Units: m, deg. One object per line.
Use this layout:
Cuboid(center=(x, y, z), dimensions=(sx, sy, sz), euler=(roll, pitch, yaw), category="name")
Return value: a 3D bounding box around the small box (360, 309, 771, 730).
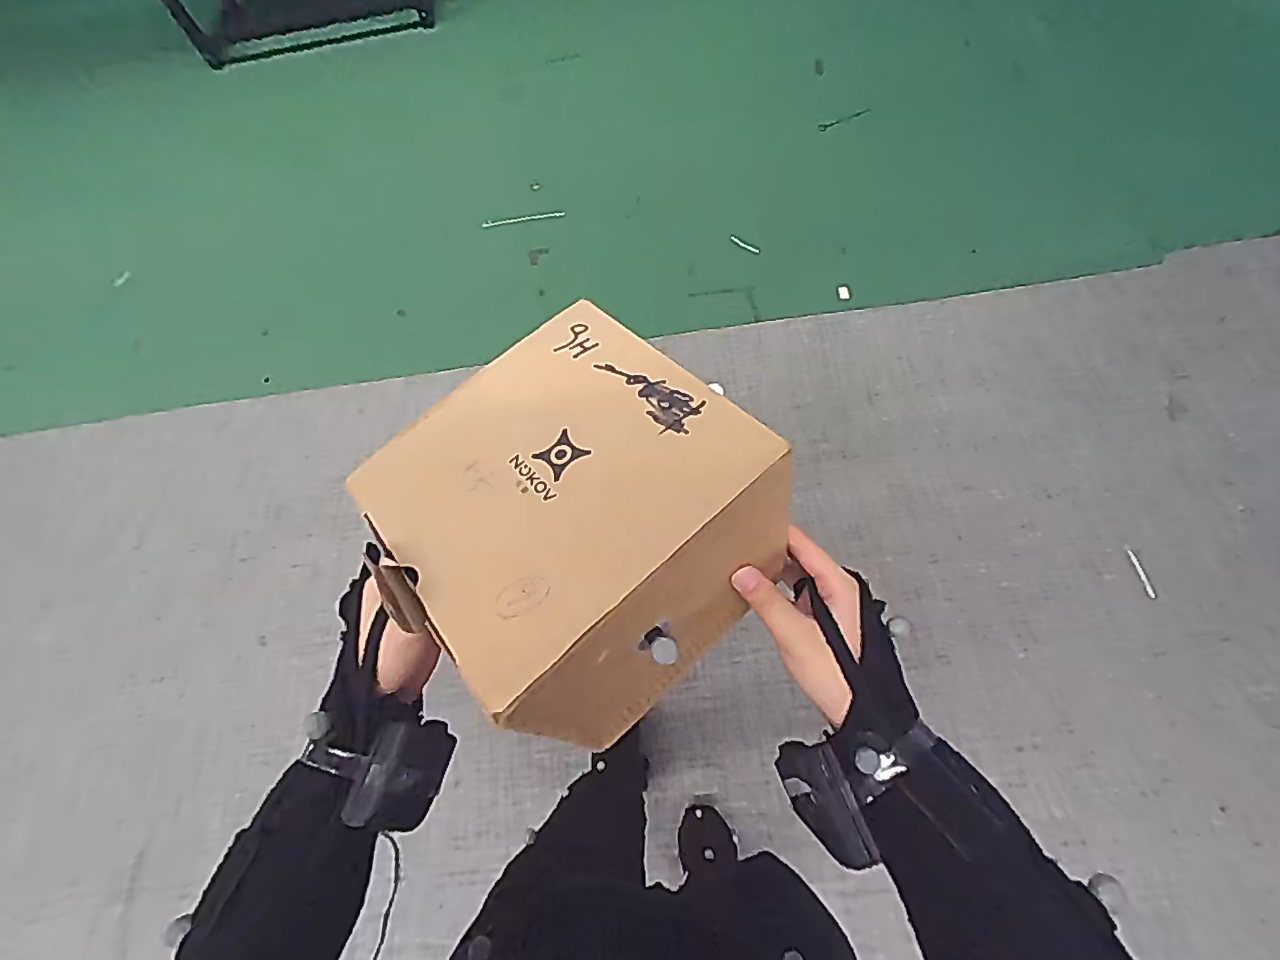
Cuboid(center=(-0.030, 0.033, 0.350), dimensions=(0.179, 0.176, 0.168), euler=(-41, 59, -11), category="small box")
